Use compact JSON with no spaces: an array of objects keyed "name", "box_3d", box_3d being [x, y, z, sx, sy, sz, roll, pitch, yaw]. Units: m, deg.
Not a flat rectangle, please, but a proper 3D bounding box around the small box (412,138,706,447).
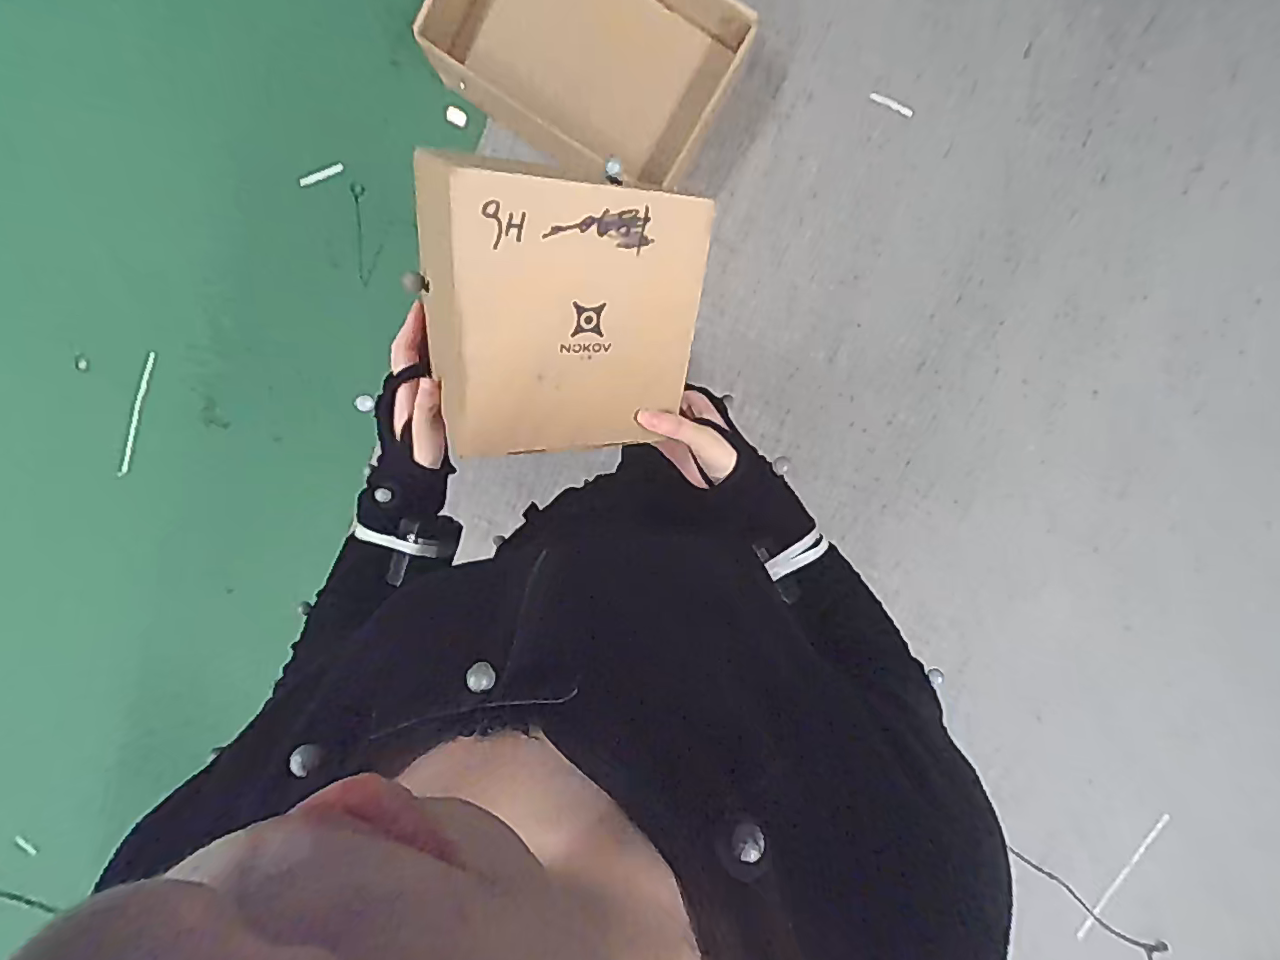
[{"name":"small box","box_3d":[-0.075,-0.145,0.415,0.168,0.176,0.179,-7,125,-25]}]
